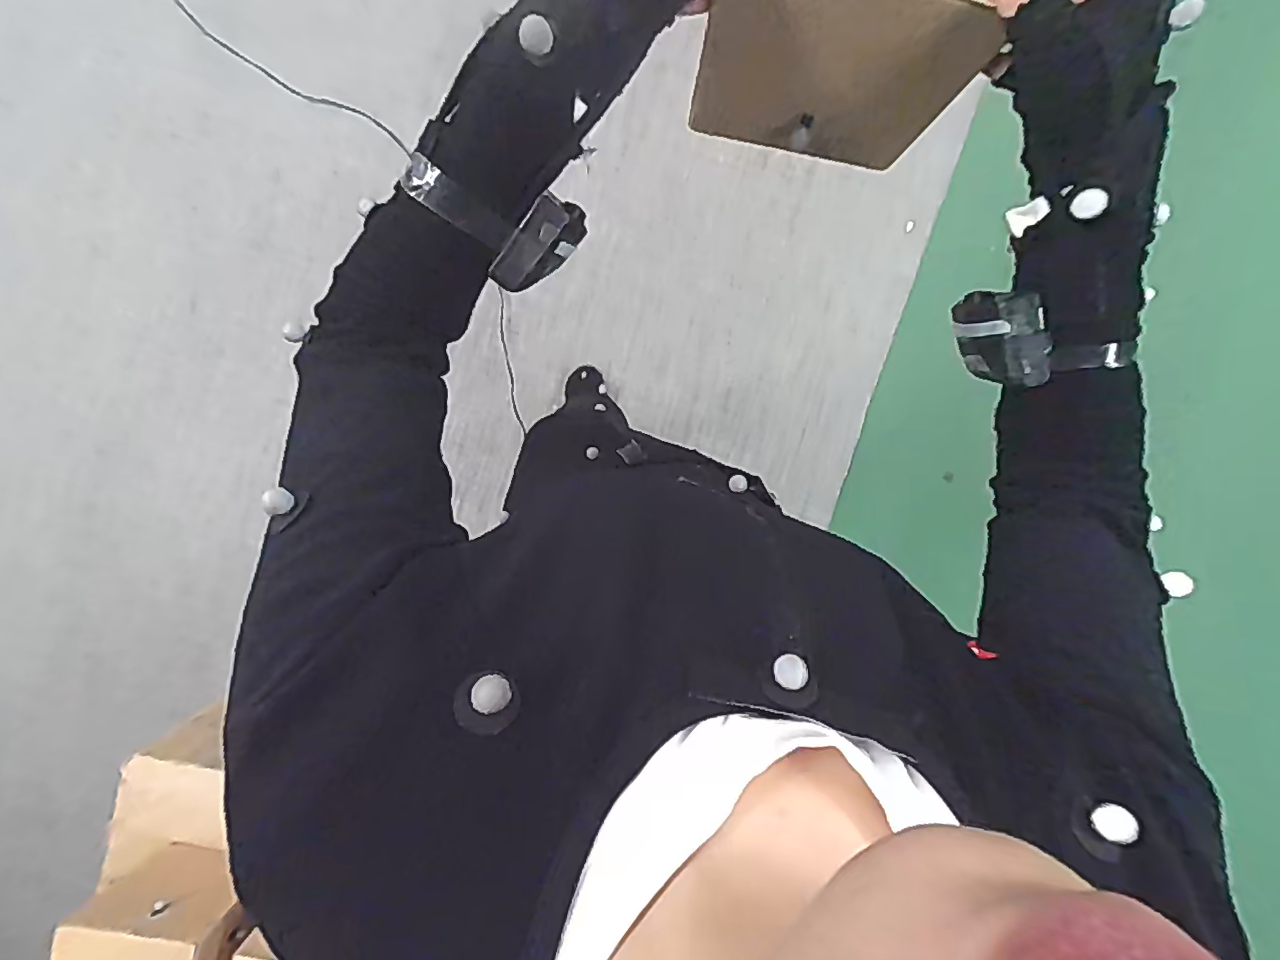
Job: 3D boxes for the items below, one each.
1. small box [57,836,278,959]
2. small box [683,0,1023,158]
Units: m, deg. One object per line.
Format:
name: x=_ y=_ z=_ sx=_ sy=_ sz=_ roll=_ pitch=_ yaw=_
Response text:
small box: x=-0.658 y=0.643 z=0.764 sx=0.179 sy=0.176 sz=0.168 roll=10 pitch=88 yaw=-1
small box: x=0.139 y=-0.356 z=0.371 sx=0.179 sy=0.176 sz=0.168 roll=11 pitch=93 yaw=-4
